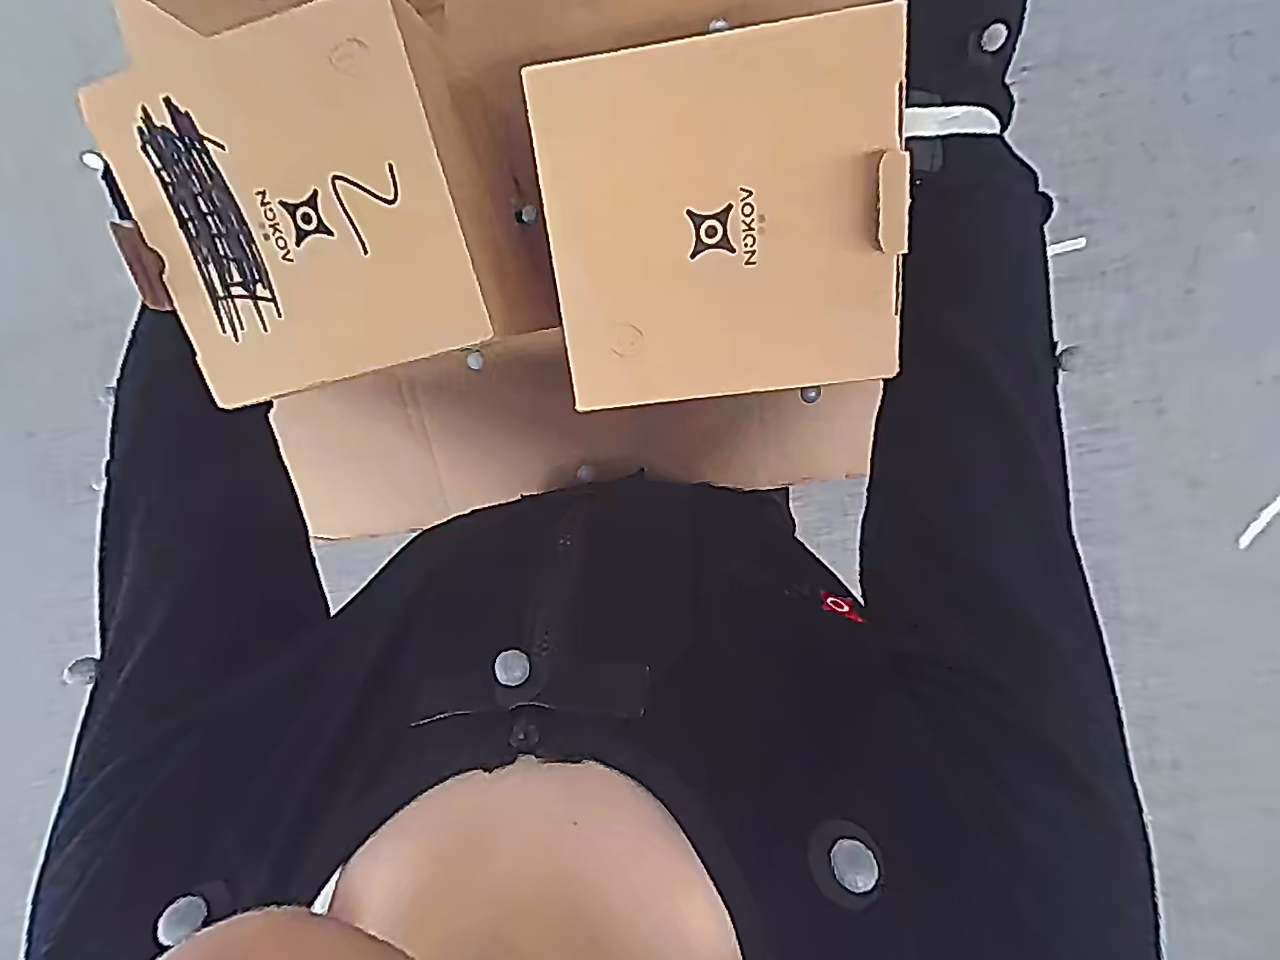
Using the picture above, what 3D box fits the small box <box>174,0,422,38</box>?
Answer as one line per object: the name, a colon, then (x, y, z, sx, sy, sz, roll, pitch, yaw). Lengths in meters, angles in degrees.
small box: (-0.243, -0.395, 0.304, 0.168, 0.176, 0.179, -8, 103, 7)
